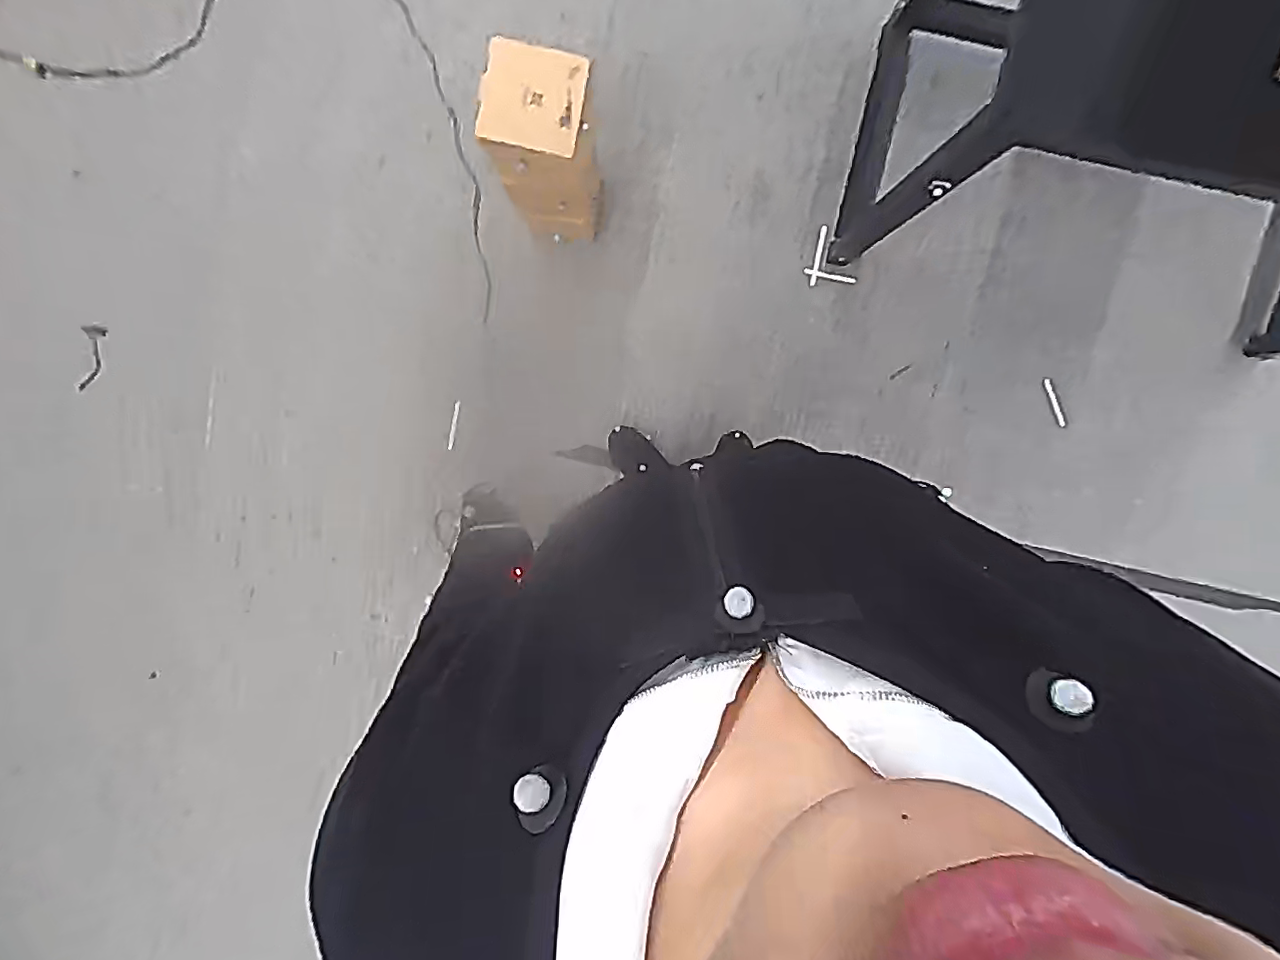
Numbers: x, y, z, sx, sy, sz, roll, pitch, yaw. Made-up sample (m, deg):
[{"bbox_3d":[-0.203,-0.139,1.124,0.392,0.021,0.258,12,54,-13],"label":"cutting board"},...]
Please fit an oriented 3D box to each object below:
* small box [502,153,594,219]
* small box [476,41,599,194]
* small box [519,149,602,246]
[{"bbox_3d":[-0.194,-0.687,1.172,0.168,0.176,0.179,5,96,0],"label":"small box"},{"bbox_3d":[-0.183,-0.662,1.010,0.179,0.176,0.168,12,97,0],"label":"small box"},{"bbox_3d":[-0.190,-0.701,1.334,0.168,0.176,0.179,8,98,0],"label":"small box"}]
